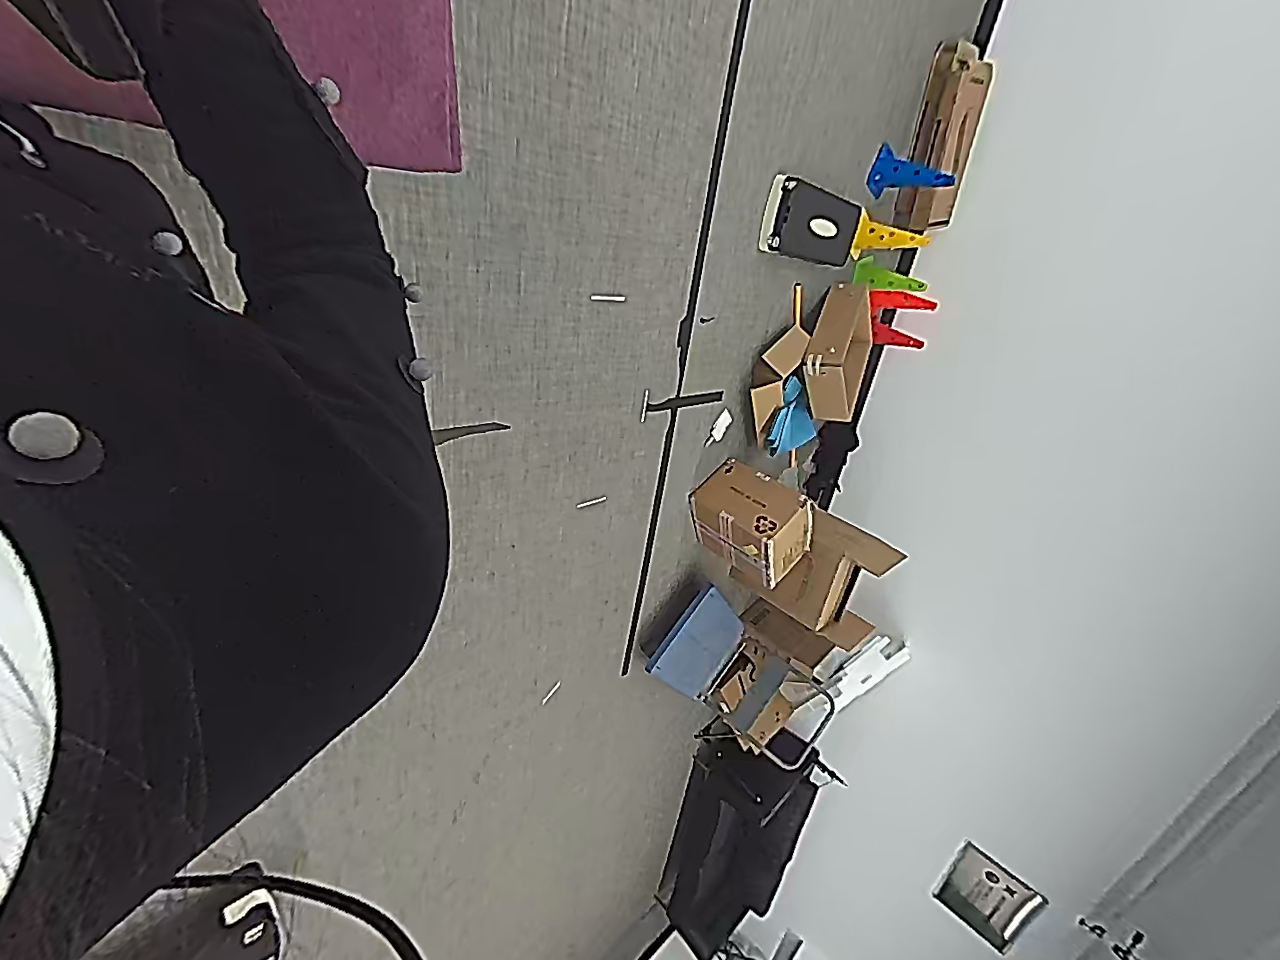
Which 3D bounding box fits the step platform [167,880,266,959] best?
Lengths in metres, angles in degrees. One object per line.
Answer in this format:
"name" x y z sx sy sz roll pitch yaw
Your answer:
"step platform" -1.451 1.480 1.493 0.684 0.204 0.286 -18 127 -44
